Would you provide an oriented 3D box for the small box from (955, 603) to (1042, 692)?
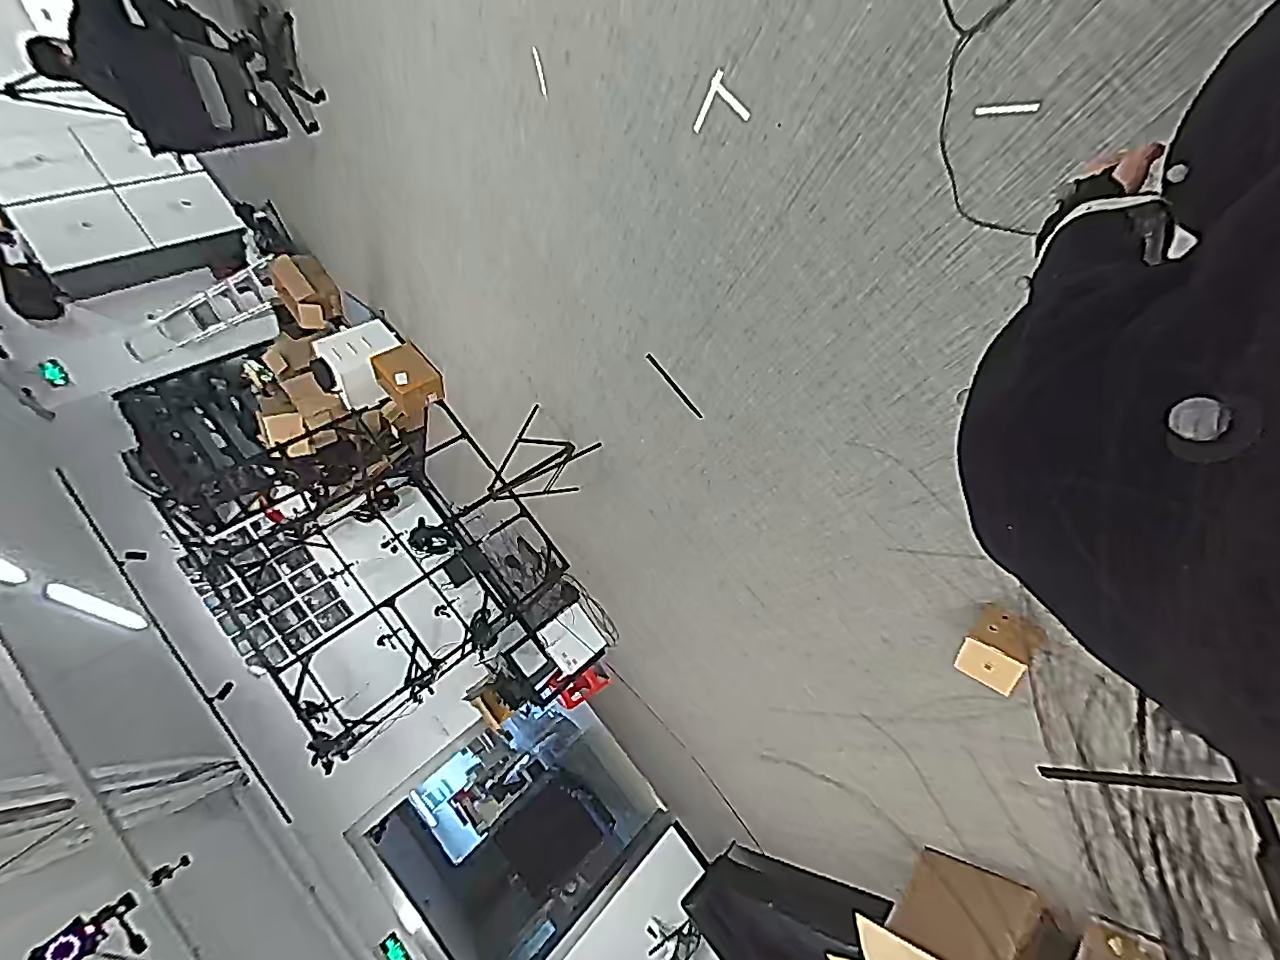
[{"bbox_3d":[1.141,0.526,1.720,0.168,0.176,0.179,30,143,37],"label":"small box"}]
